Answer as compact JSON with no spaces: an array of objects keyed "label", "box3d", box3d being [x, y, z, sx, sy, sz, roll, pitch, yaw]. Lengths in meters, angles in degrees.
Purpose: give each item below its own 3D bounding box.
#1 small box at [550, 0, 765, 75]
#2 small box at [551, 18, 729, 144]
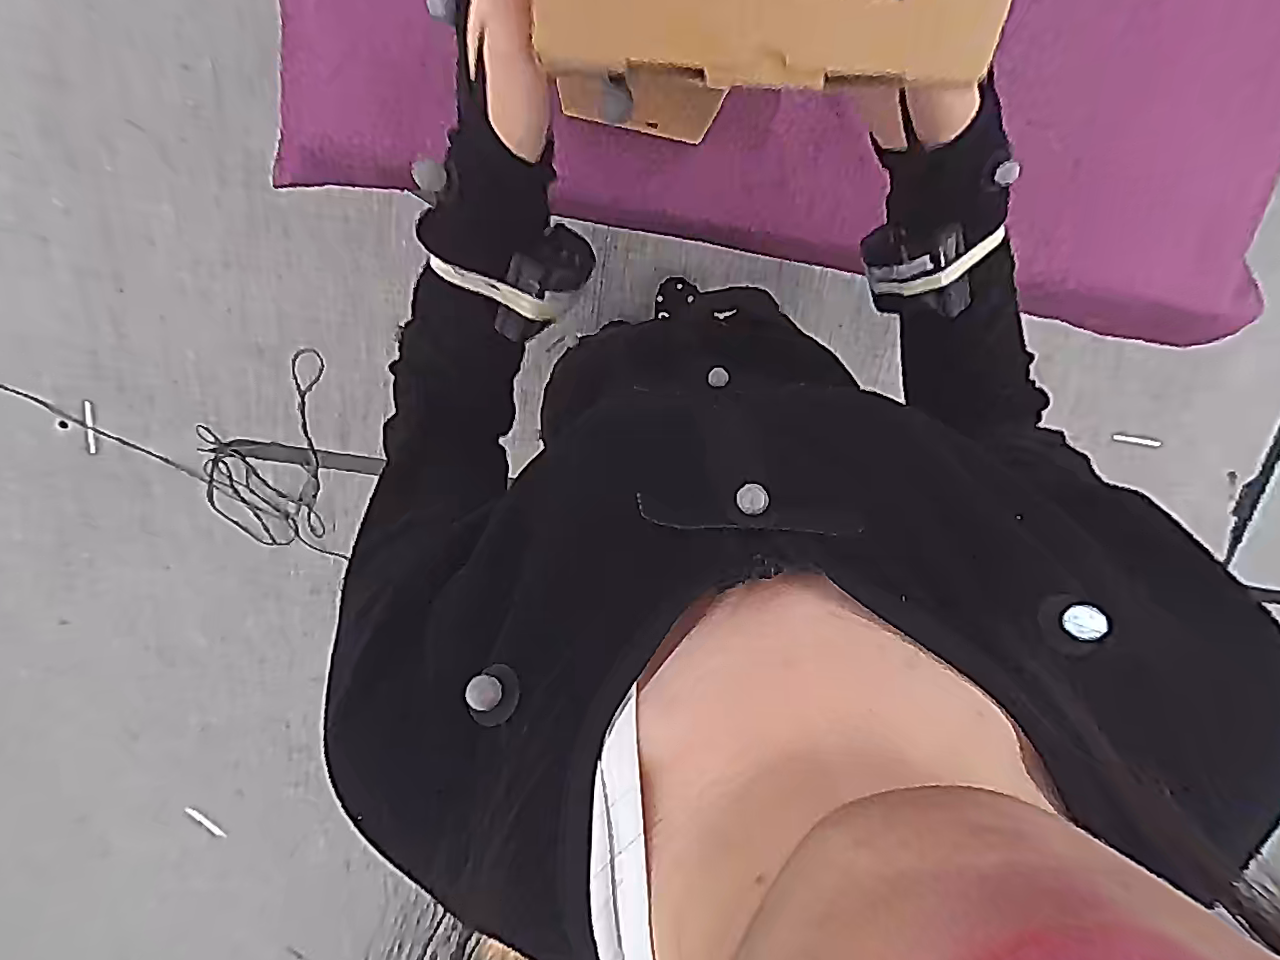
[{"label":"small box","box3d":[0.020,-0.433,0.388,0.168,0.176,0.179,7,106,-6]},{"label":"small box","box3d":[0.011,-0.472,0.548,0.168,0.176,0.179,9,105,-6]}]
